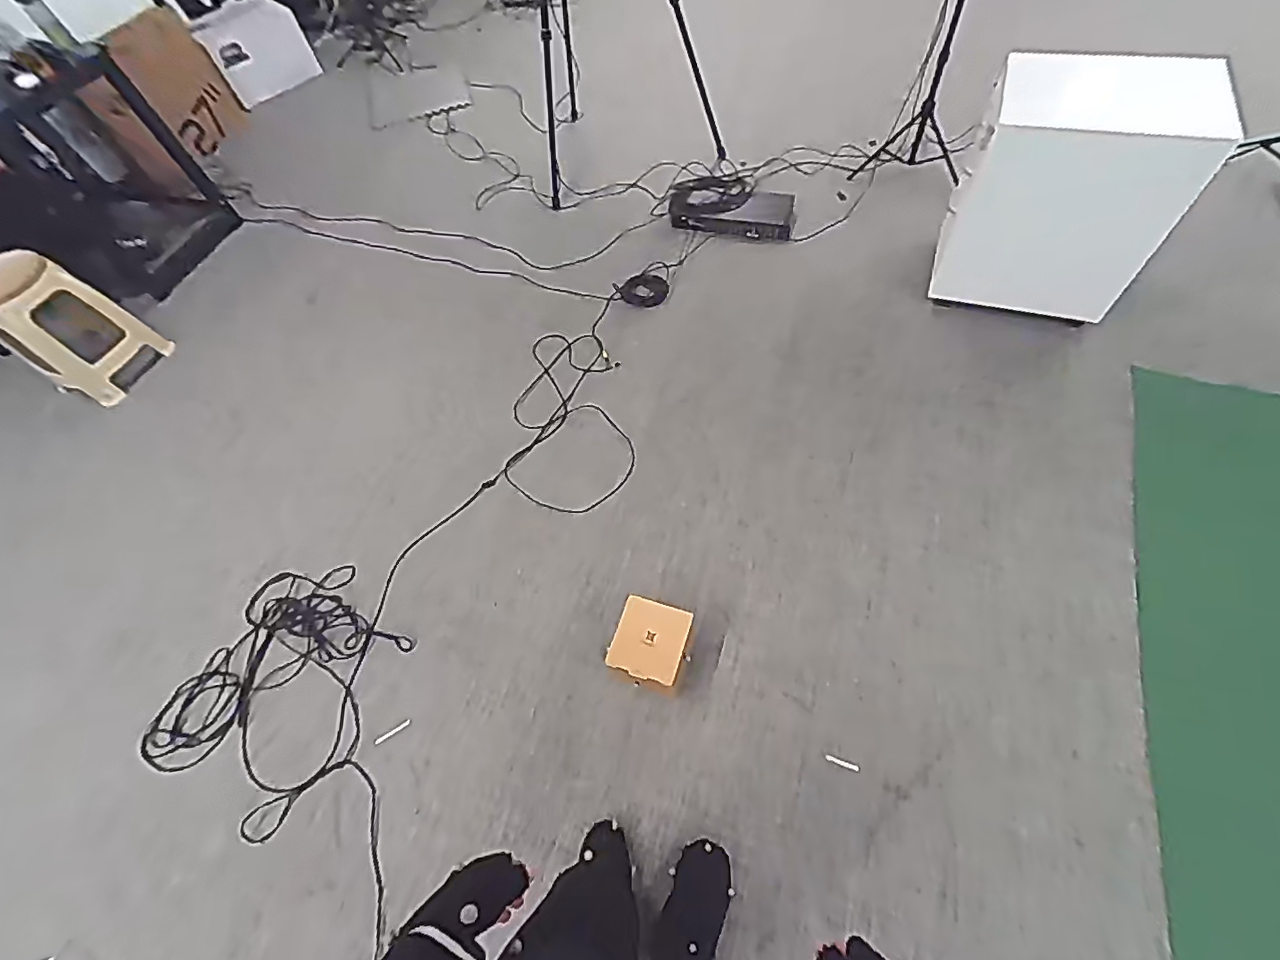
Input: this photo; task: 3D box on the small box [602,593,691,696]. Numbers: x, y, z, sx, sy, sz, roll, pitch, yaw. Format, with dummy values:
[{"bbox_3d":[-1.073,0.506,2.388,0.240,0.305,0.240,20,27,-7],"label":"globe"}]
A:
[{"bbox_3d":[0.023,0.406,1.326,0.168,0.176,0.179,13,62,16],"label":"small box"}]
